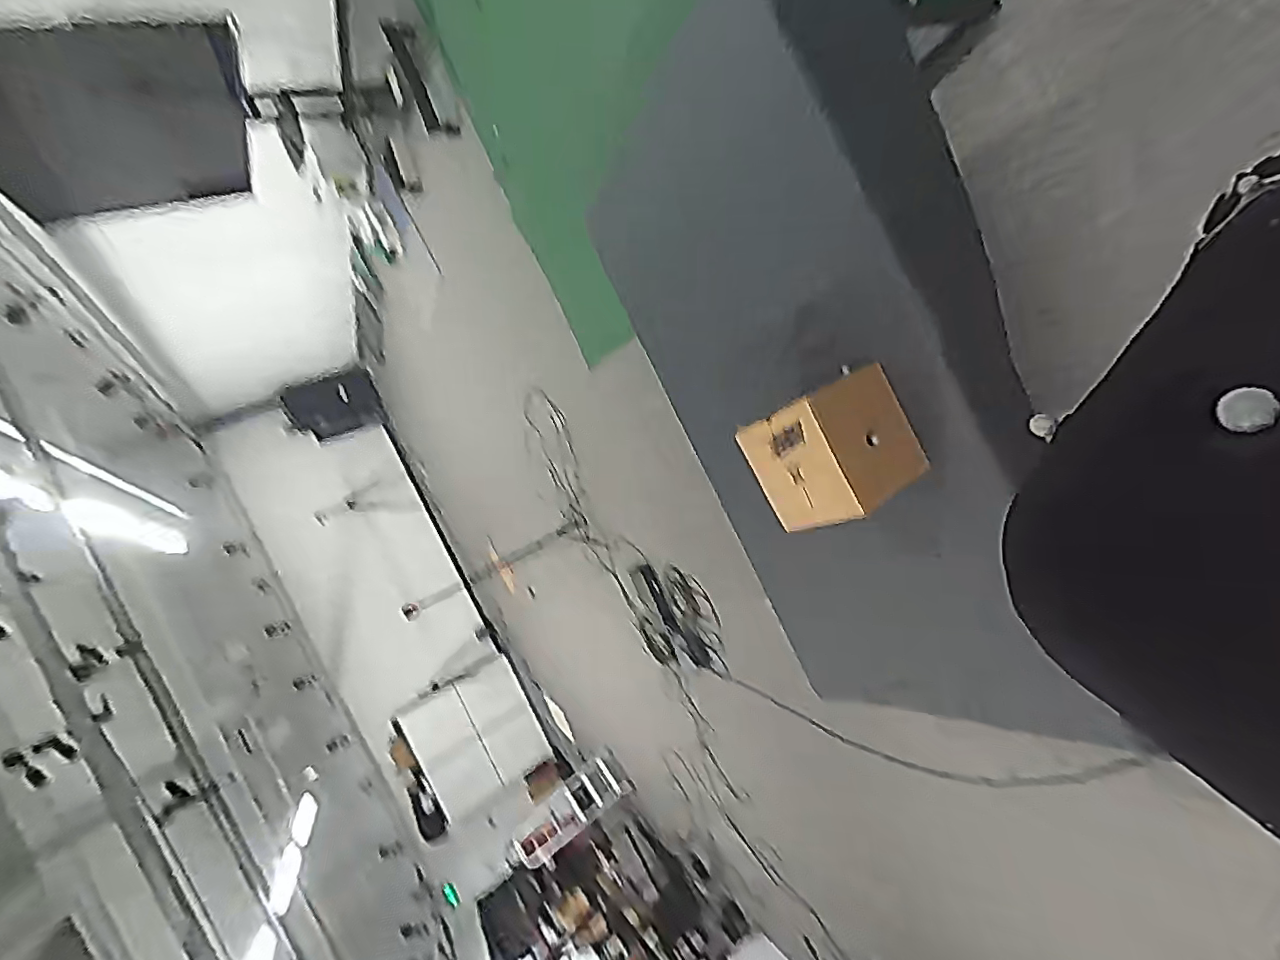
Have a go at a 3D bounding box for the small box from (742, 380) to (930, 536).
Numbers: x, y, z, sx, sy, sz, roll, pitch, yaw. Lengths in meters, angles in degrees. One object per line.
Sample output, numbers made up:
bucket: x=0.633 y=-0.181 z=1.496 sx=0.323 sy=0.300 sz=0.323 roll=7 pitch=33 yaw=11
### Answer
small box: x=0.296 y=-0.036 z=0.825 sx=0.179 sy=0.176 sz=0.168 roll=62 pitch=152 yaw=1
